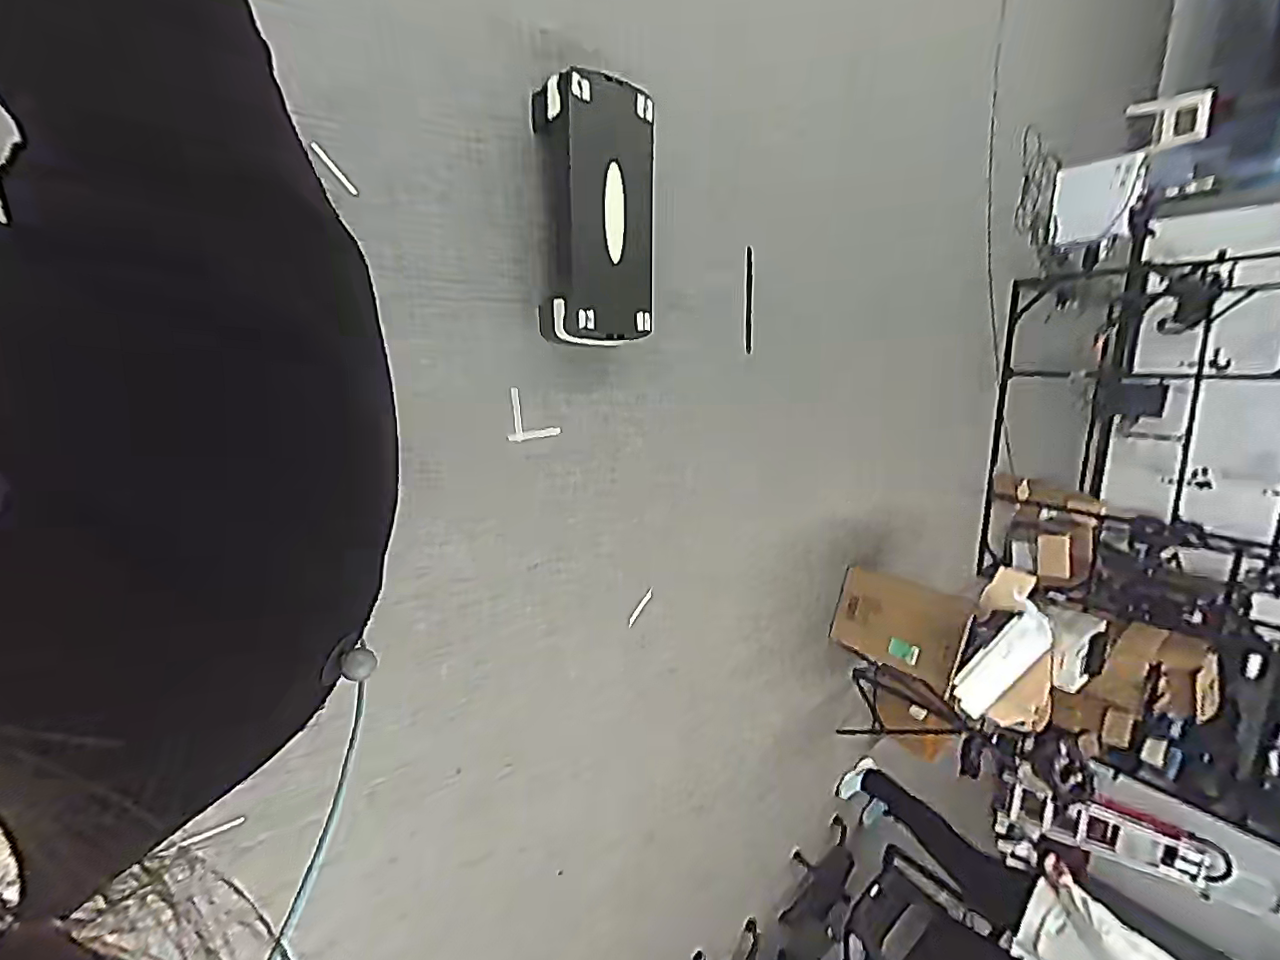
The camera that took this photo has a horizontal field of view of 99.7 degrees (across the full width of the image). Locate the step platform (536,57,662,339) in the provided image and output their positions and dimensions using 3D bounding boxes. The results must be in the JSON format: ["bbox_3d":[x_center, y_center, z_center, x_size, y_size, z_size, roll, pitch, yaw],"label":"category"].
[{"bbox_3d":[-0.114,-0.758,1.525,0.286,0.204,0.684,-3,100,-36],"label":"step platform"}]
